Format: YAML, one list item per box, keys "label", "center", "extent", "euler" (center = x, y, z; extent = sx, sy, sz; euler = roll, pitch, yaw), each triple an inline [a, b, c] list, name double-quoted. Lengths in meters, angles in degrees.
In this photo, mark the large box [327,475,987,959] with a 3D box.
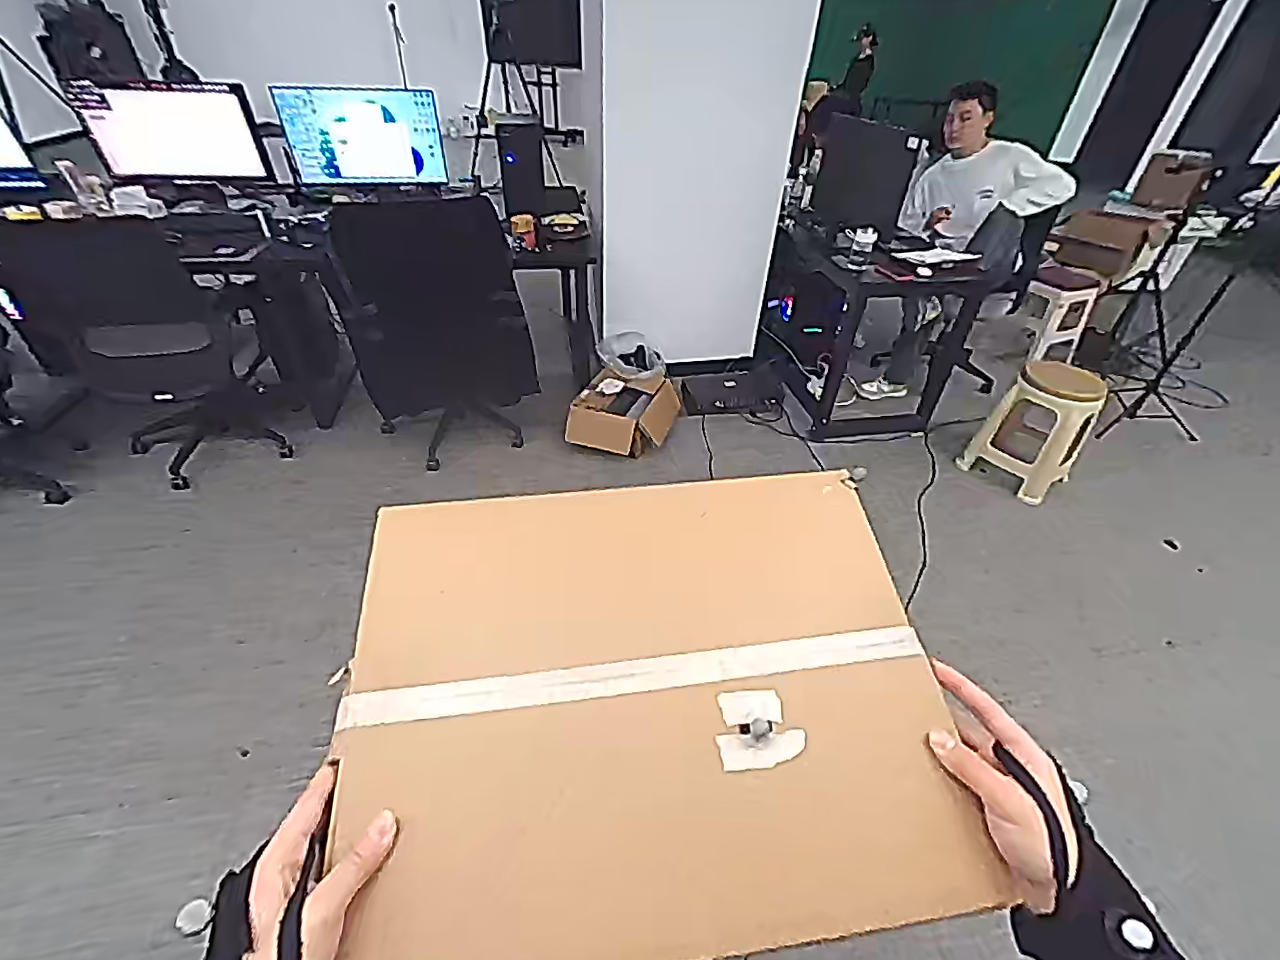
- label: "large box"
  center: [-0.006, 0.222, 0.516]
  extent: [0.408, 0.320, 0.320]
  euler: [-5, 57, -7]
